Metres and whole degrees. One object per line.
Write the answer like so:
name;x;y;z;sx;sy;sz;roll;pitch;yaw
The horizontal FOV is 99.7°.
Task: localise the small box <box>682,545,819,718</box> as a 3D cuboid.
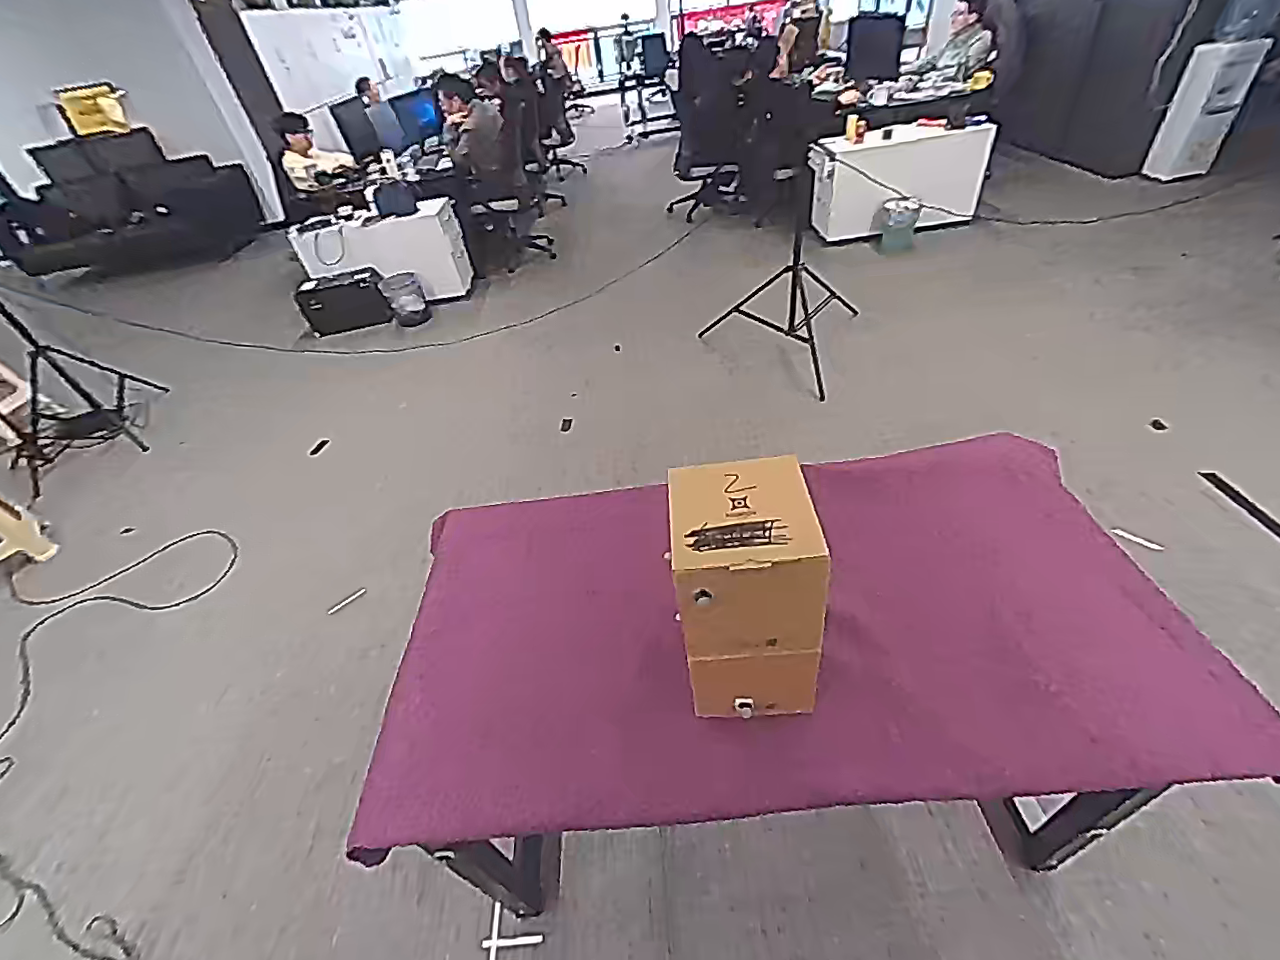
small box;0.151;0.219;0.784;0.168;0.176;0.179;-6;42;5
